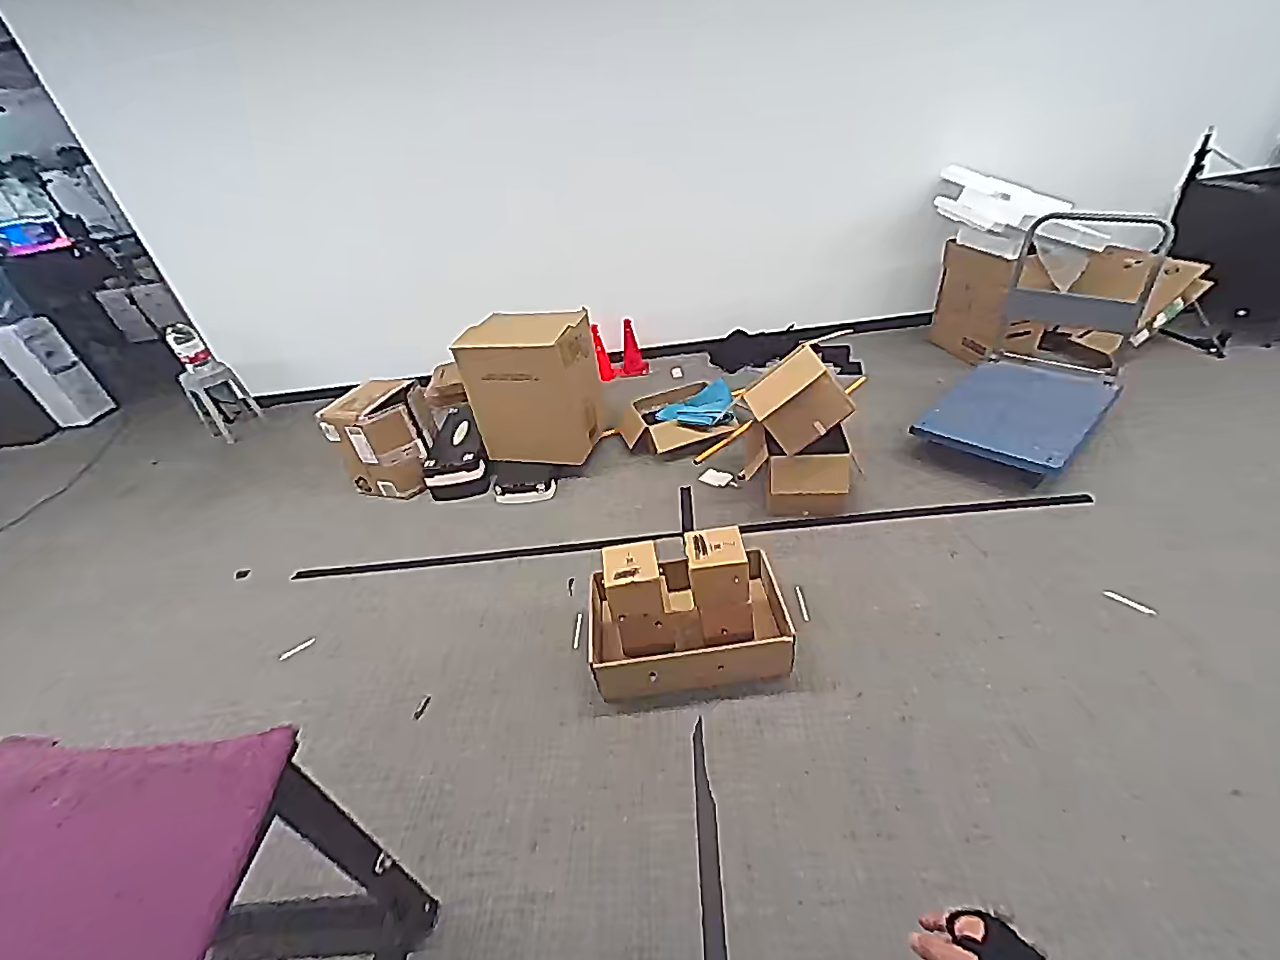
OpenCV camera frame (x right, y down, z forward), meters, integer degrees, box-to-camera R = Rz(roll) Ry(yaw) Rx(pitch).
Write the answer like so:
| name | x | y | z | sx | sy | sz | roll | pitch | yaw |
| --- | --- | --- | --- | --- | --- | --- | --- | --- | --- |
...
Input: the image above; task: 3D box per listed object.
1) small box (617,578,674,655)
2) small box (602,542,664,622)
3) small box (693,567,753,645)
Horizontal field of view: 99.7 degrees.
| name | x | y | z | sx | sy | sz | roll | pitch | yaw |
| --- | --- | --- | --- | --- | --- | --- | --- | --- | --- |
| small box | 0.016 | 0.452 | 1.783 | 0.179 | 0.176 | 0.168 | -9 | 34 | -1 |
| small box | -0.022 | 0.324 | 1.684 | 0.168 | 0.176 | 0.179 | -9 | 34 | -2 |
| small box | 0.272 | 0.414 | 1.780 | 0.168 | 0.176 | 0.179 | -10 | 35 | 2 |
